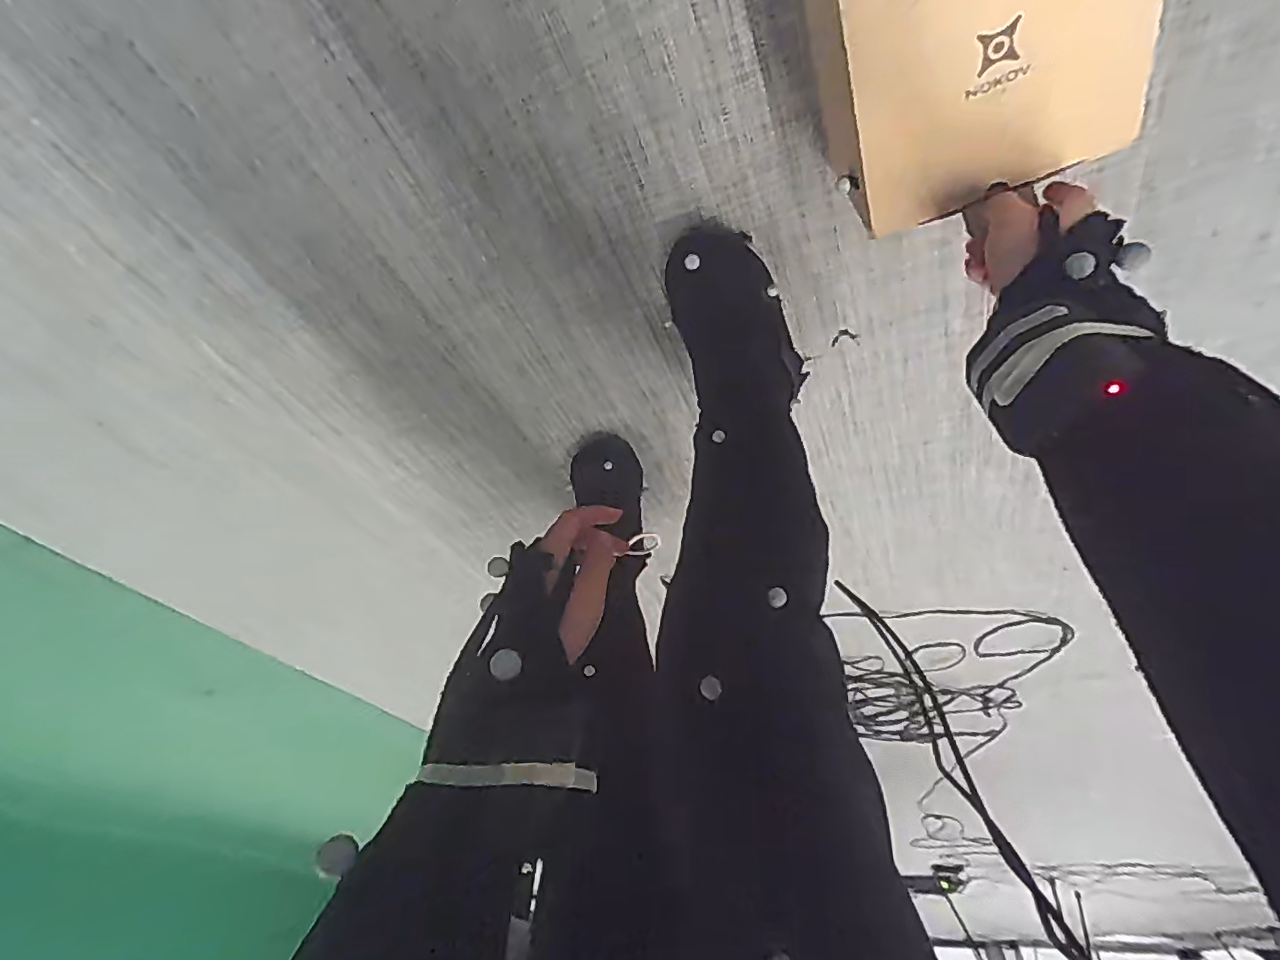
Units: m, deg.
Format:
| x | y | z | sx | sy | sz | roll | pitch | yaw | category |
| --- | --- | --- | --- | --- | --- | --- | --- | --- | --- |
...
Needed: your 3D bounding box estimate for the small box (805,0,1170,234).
| x | y | z | sx | sy | sz | roll | pitch | yaw | category |
| --- | --- | --- | --- | --- | --- | --- | --- | --- | --- |
| 0.218 | -0.314 | 0.373 | 0.168 | 0.176 | 0.179 | -16 | 135 | 20 | small box |
